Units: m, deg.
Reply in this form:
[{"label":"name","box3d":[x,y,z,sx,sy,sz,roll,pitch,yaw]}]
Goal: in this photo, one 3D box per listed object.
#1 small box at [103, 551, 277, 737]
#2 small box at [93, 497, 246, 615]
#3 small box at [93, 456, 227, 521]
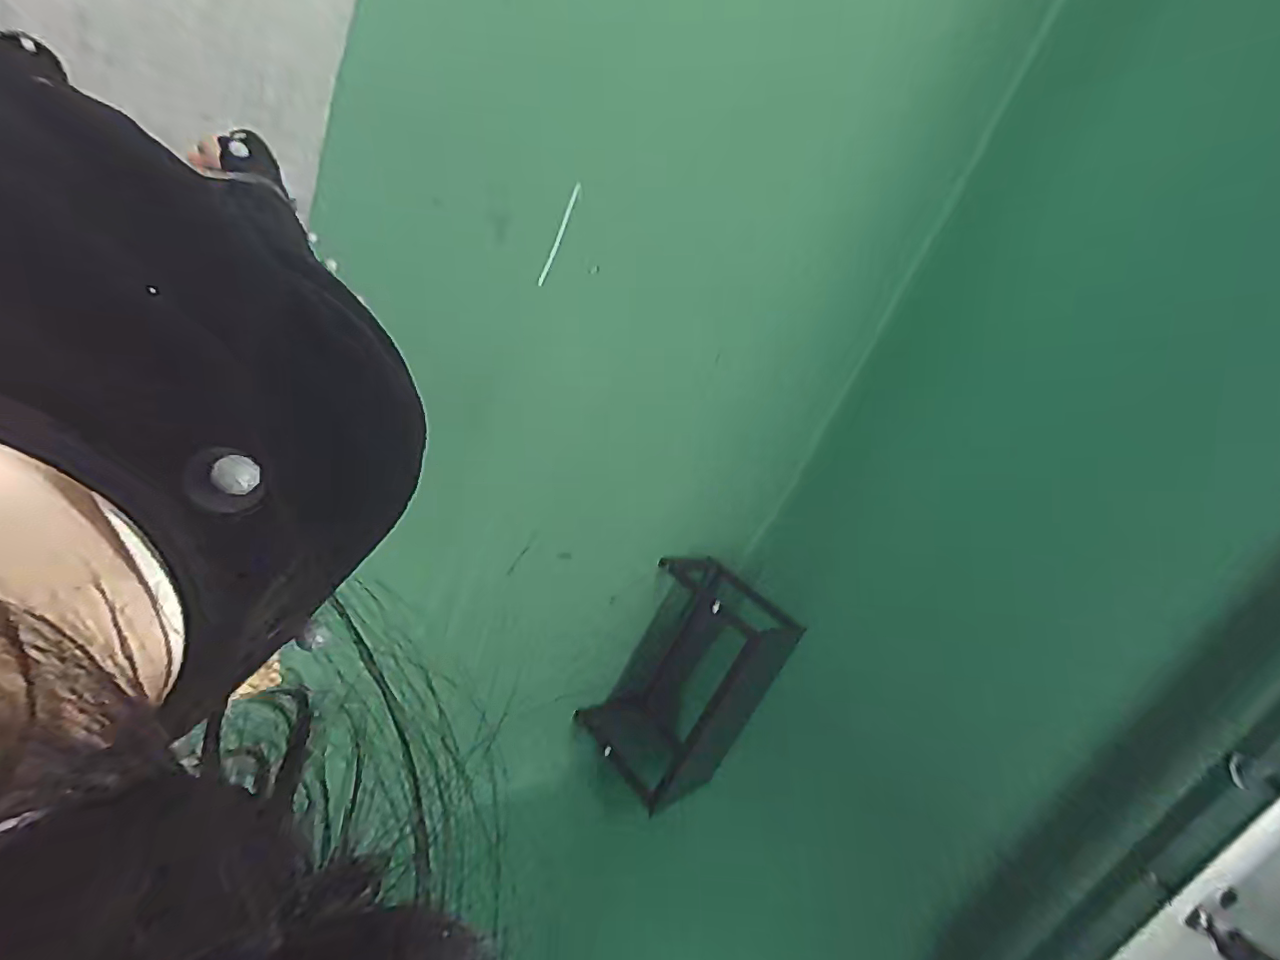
[{"label":"small box","box3d":[-0.657,0.227,0.796,0.179,0.176,0.168,-10,126,-42]},{"label":"small box","box3d":[-0.765,0.147,0.890,0.179,0.176,0.168,-12,127,-42]},{"label":"small box","box3d":[-0.868,0.066,0.987,0.168,0.176,0.179,-11,126,-43]}]
